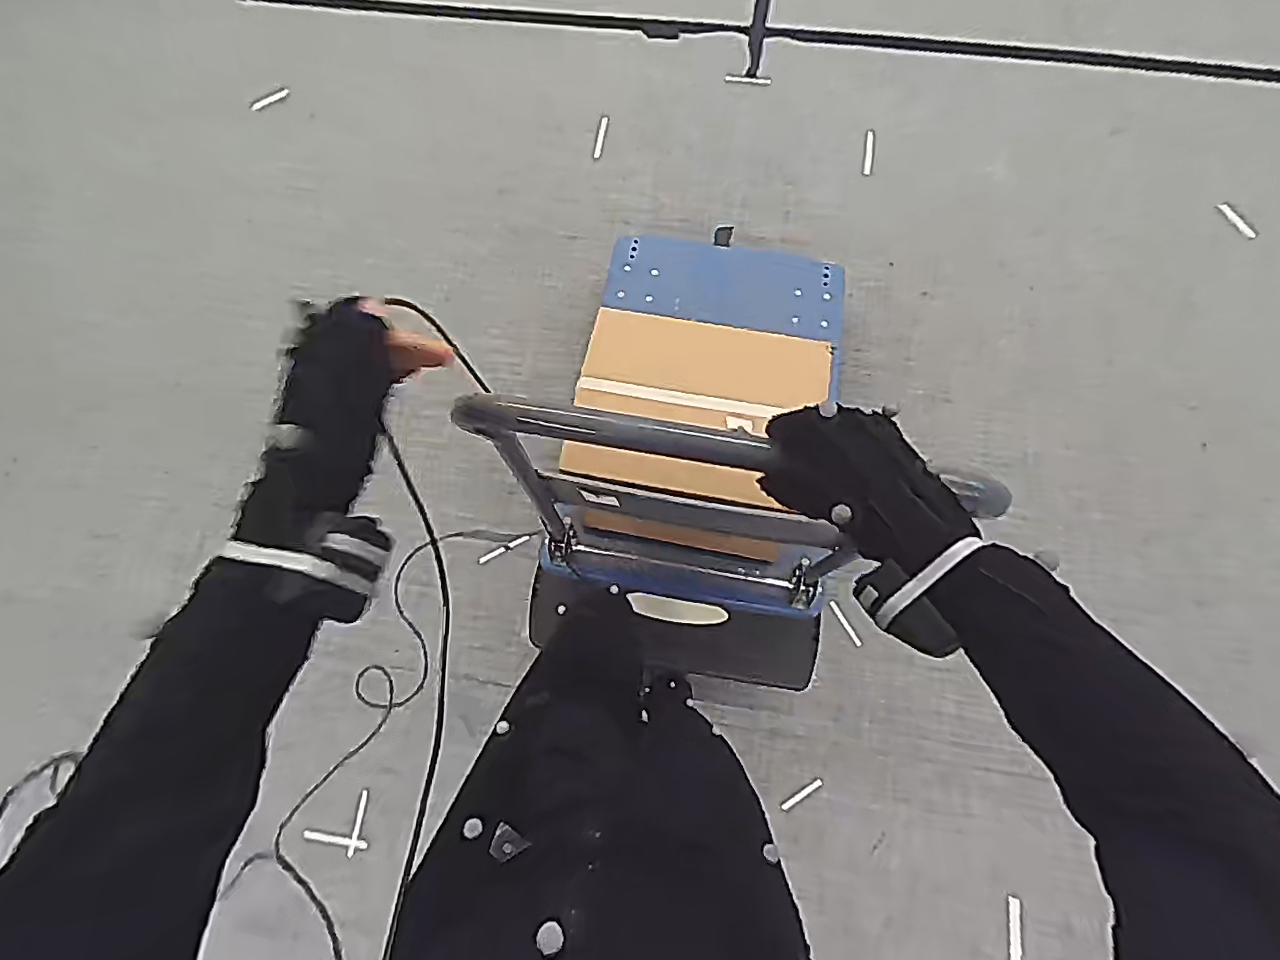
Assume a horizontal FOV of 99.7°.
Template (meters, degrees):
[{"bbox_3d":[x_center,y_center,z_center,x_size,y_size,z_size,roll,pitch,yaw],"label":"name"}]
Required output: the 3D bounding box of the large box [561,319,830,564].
[{"bbox_3d":[0.096,-0.055,1.006,0.408,0.320,0.320,11,70,4],"label":"large box"}]
